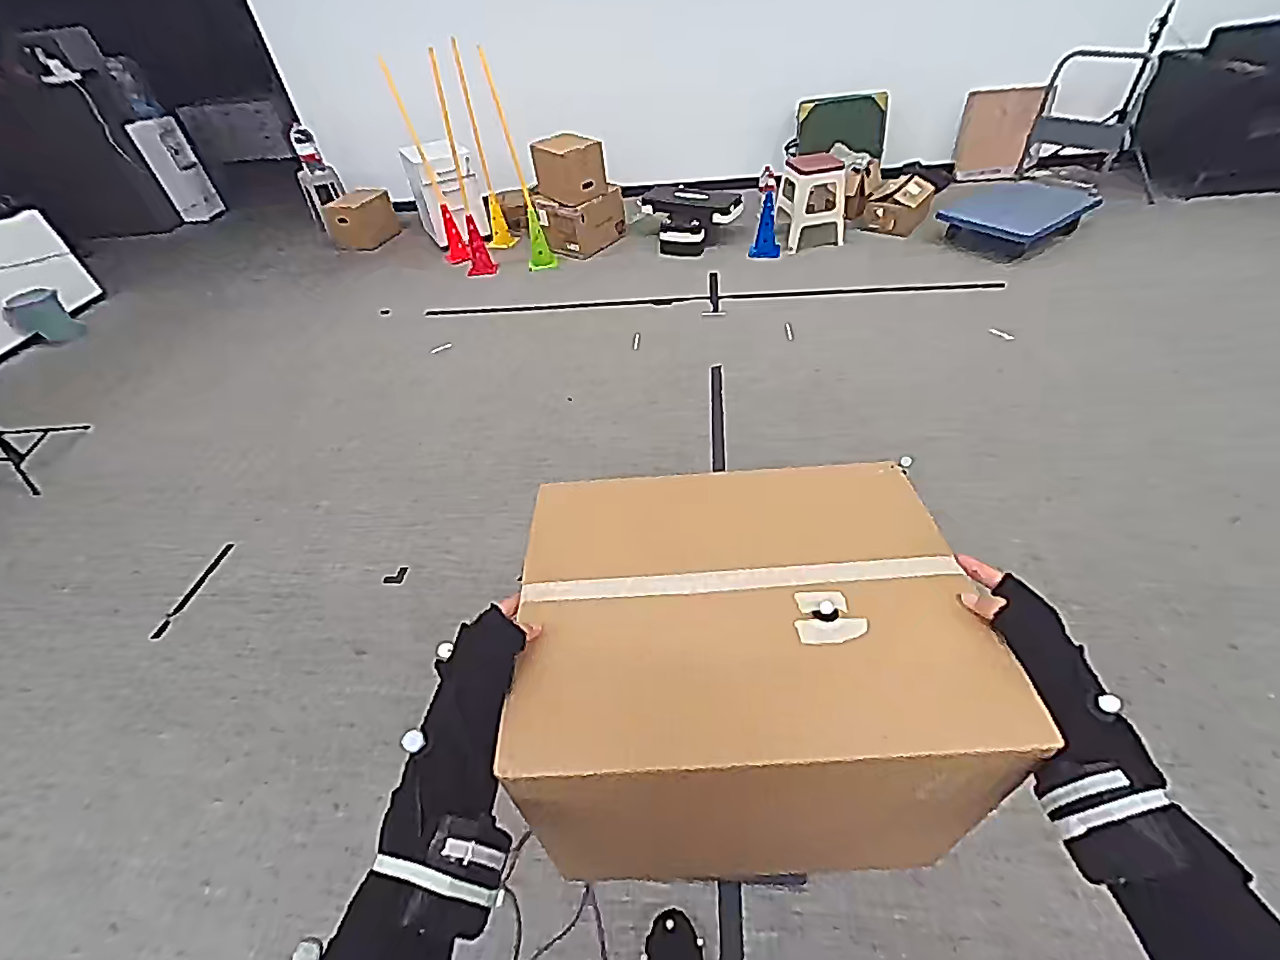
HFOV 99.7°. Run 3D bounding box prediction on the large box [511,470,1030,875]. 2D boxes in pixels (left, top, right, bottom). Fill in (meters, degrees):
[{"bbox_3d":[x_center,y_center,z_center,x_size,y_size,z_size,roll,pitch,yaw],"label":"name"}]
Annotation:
[{"bbox_3d":[0.100,0.214,0.614,0.408,0.320,0.320,-4,42,1],"label":"large box"}]
